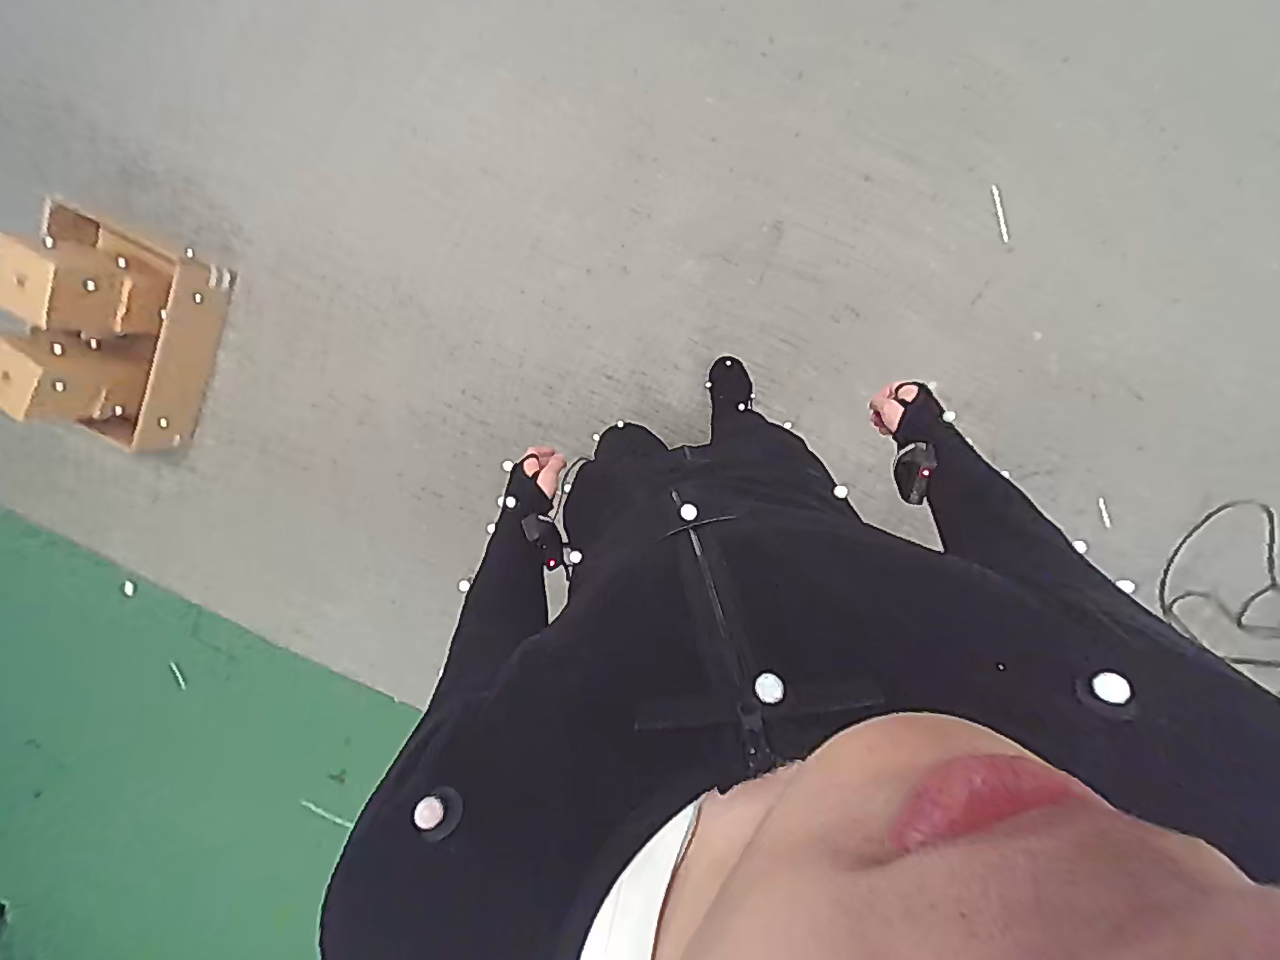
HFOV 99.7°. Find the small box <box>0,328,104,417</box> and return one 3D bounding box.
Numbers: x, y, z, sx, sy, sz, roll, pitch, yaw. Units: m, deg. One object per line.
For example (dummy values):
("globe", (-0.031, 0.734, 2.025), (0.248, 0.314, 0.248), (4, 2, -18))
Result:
("small box", (-1.619, -0.294, 1.458), (0.168, 0.176, 0.179), (38, 104, -2))

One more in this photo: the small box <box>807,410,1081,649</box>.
("small box", (0.309, 0.043, 0.587), (0.179, 0.176, 0.168), (35, 107, 3))
